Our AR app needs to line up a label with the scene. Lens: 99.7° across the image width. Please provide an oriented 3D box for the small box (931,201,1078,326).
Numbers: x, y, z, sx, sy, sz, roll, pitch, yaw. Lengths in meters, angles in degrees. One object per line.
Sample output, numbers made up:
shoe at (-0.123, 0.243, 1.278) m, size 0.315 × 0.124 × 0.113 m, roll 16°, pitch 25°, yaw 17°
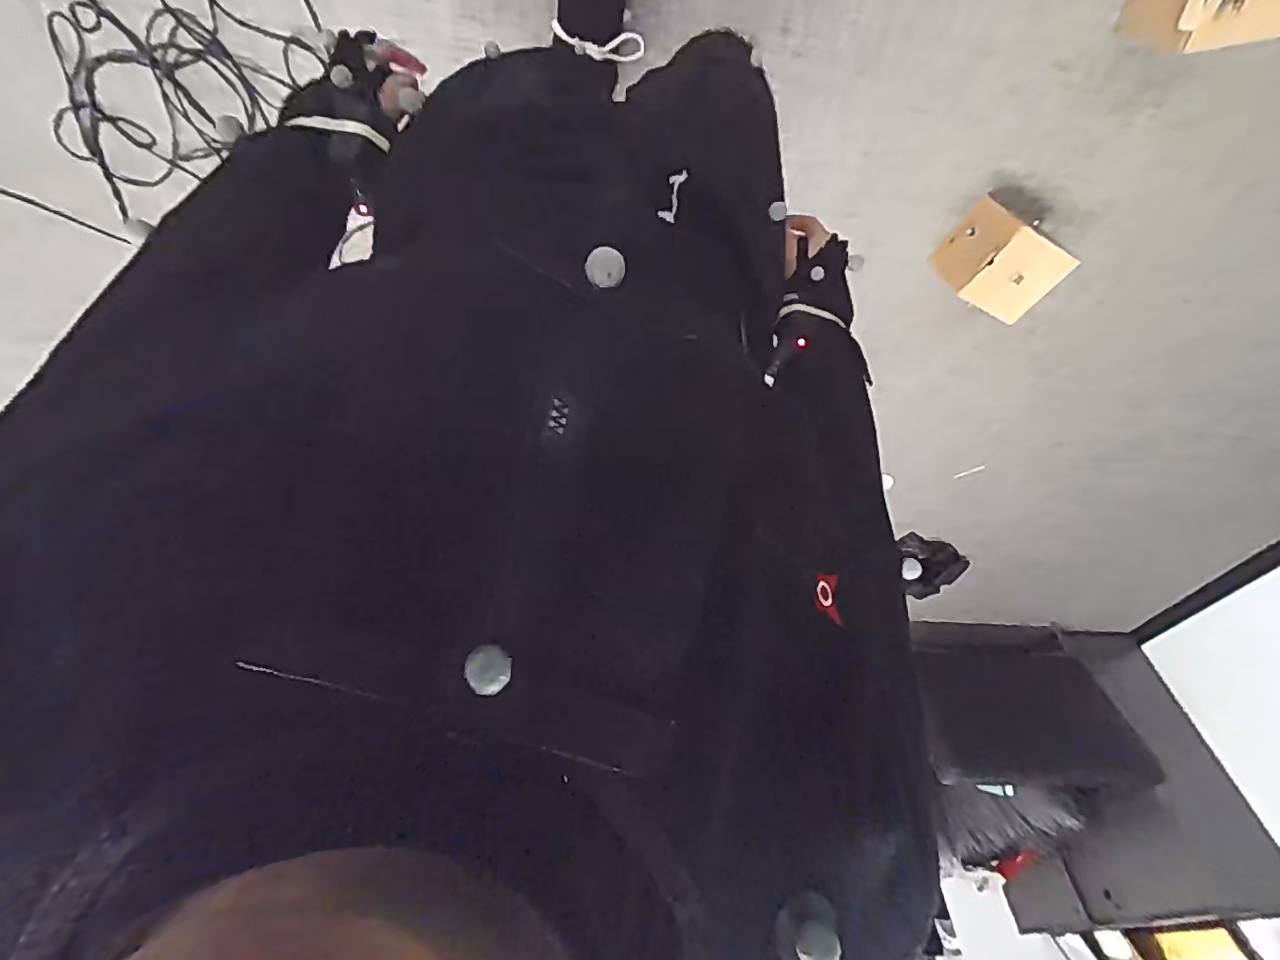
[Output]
small box at (0.786, -0.475, 1.183) m, size 0.179 × 0.176 × 0.168 m, roll 17°, pitch 135°, yaw -19°
